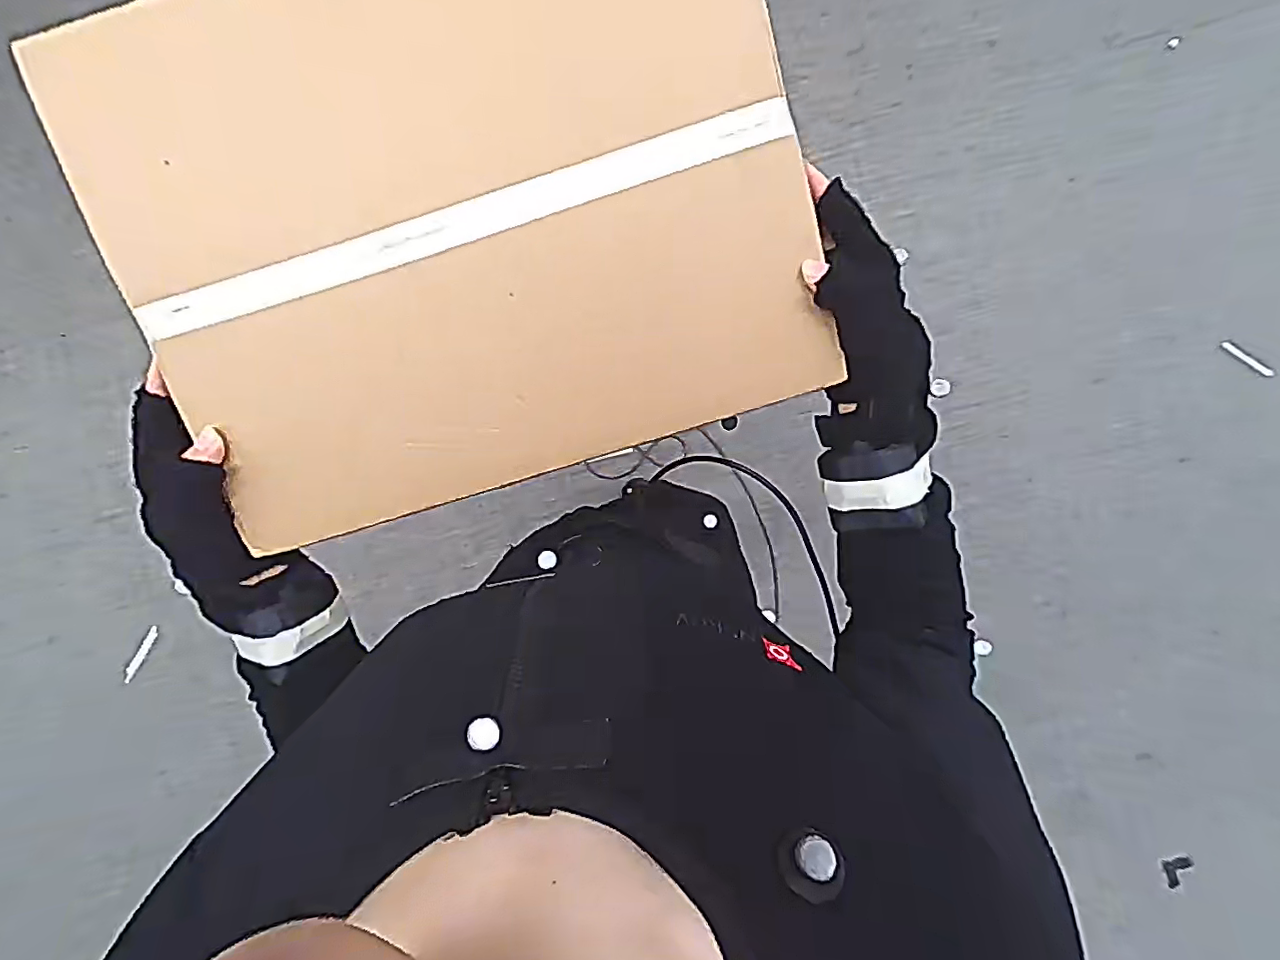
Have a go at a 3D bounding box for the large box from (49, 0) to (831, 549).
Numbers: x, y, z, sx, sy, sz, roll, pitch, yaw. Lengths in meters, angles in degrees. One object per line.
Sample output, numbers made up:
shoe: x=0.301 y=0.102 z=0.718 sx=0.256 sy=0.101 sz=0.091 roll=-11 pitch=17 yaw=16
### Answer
large box: x=-0.109 y=-0.185 z=0.475 sx=0.408 sy=0.320 sz=0.320 roll=-17 pitch=101 yaw=3
